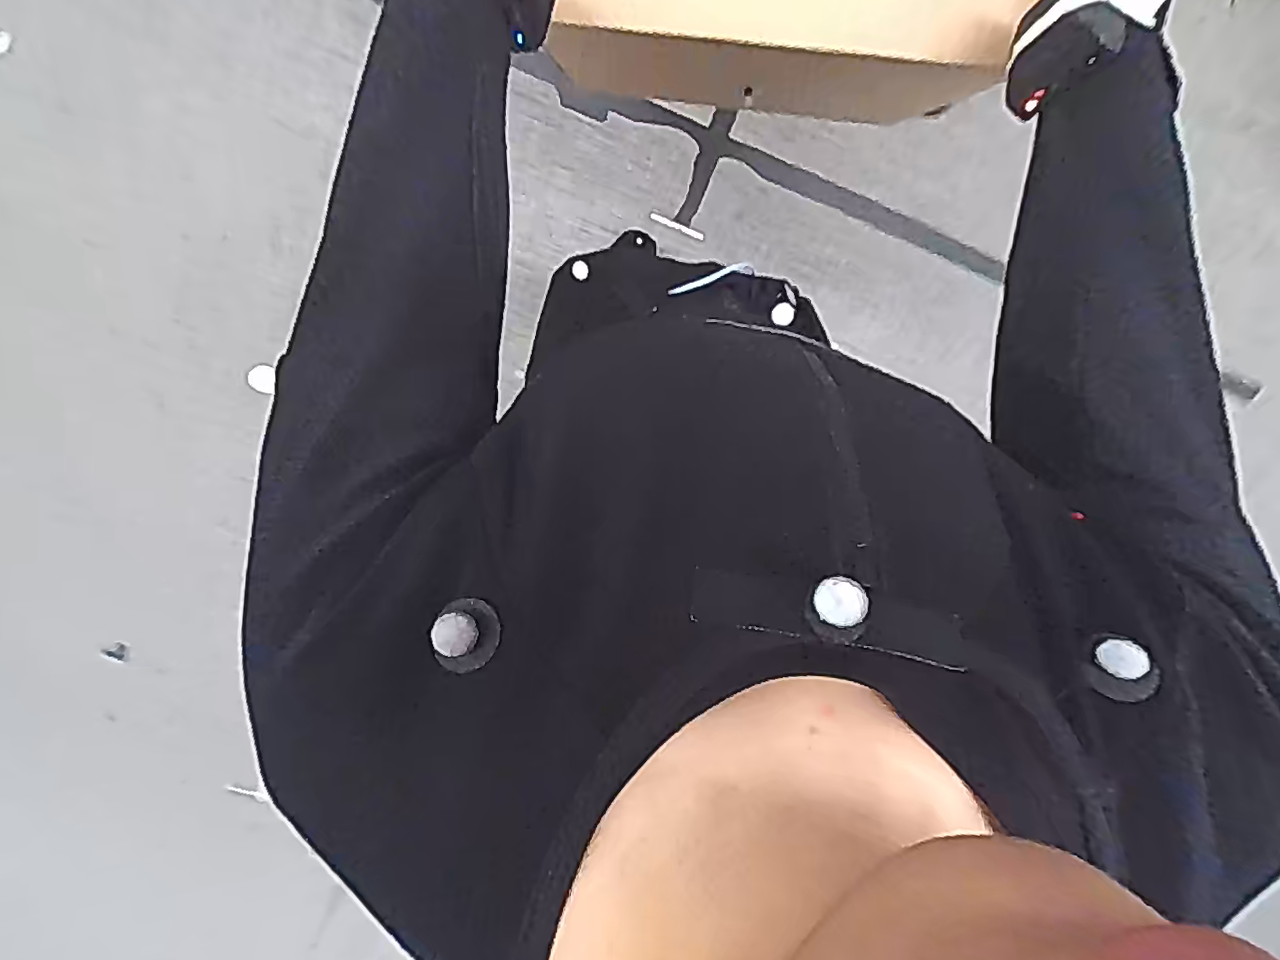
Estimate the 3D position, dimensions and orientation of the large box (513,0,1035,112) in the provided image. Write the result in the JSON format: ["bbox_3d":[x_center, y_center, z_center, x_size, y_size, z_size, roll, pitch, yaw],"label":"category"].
[{"bbox_3d":[0.119,-0.548,0.489,0.408,0.320,0.320,6,116,1],"label":"large box"}]
